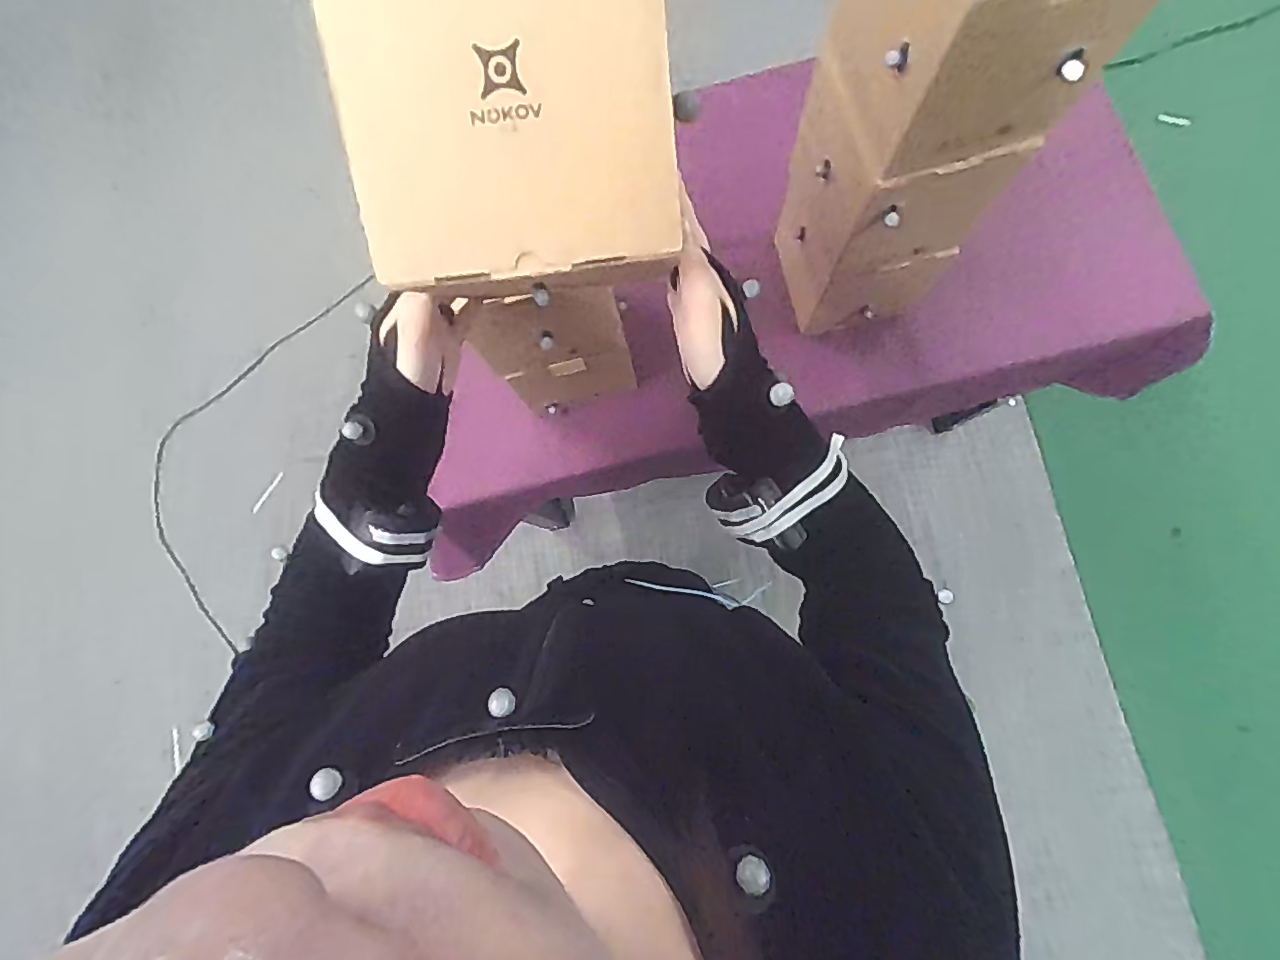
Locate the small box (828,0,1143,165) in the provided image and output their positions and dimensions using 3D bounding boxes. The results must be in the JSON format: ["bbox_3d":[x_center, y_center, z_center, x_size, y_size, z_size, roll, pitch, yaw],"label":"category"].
[{"bbox_3d":[0.278,-0.398,0.448,0.168,0.176,0.179,-15,79,1],"label":"small box"}]

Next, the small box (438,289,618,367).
[{"bbox_3d":[-0.126,-0.243,0.617,0.168,0.176,0.179,-13,81,1],"label":"small box"}]

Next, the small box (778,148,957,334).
[{"bbox_3d":[0.305,-0.335,0.769,0.168,0.176,0.179,-12,80,2],"label":"small box"}]

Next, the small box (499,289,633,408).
[{"bbox_3d":[-0.112,-0.215,0.779,0.168,0.176,0.179,-15,79,1],"label":"small box"}]

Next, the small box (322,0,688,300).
[{"bbox_3d":[-0.064,-0.211,0.340,0.168,0.176,0.179,-5,109,2],"label":"small box"}]
